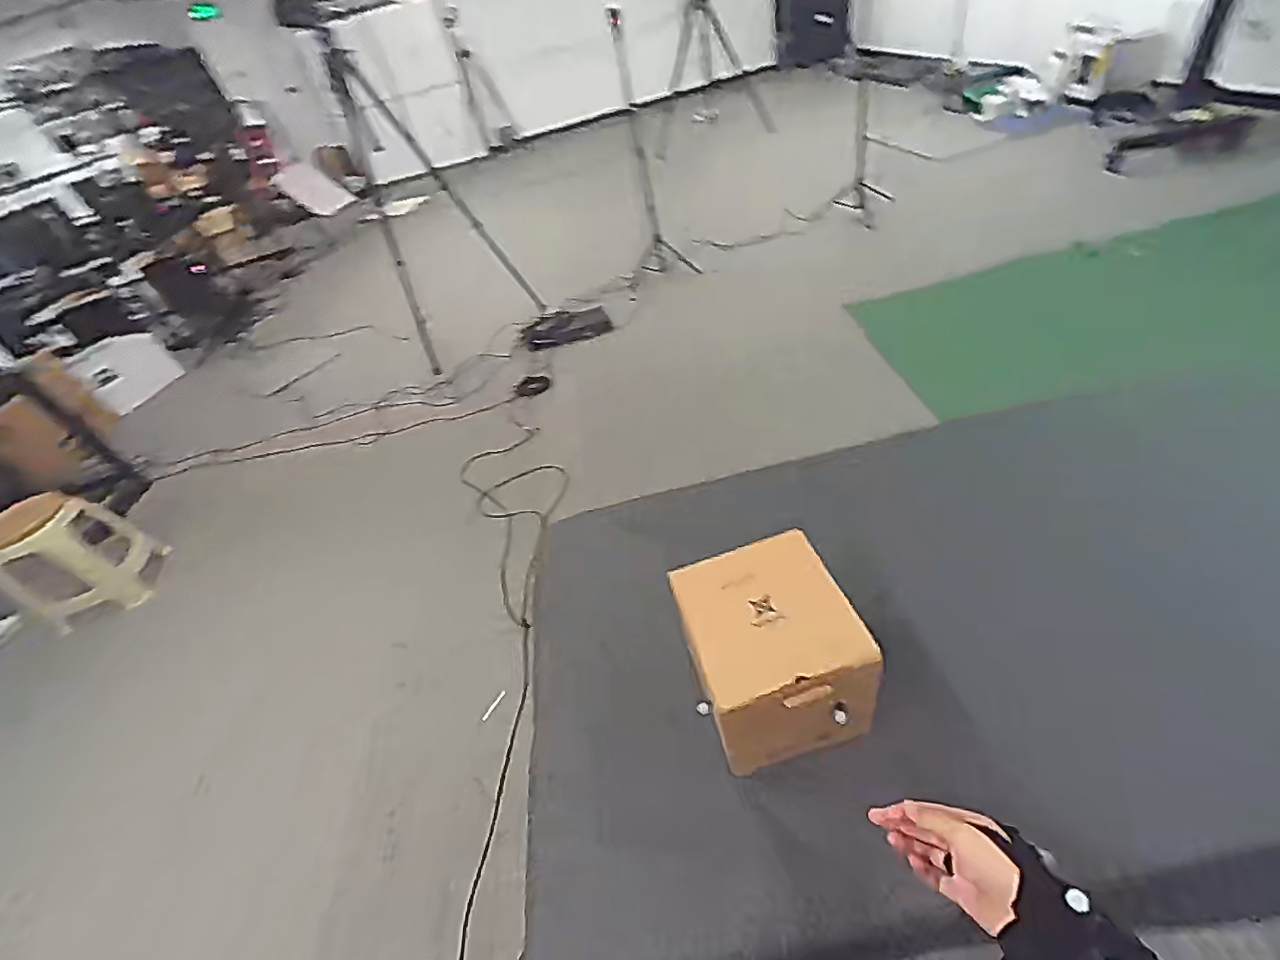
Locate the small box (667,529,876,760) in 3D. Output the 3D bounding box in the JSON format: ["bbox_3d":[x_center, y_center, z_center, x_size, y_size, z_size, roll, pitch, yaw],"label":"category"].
[{"bbox_3d":[0.144,0.193,0.620,0.168,0.176,0.179,-18,40,-4],"label":"small box"}]
